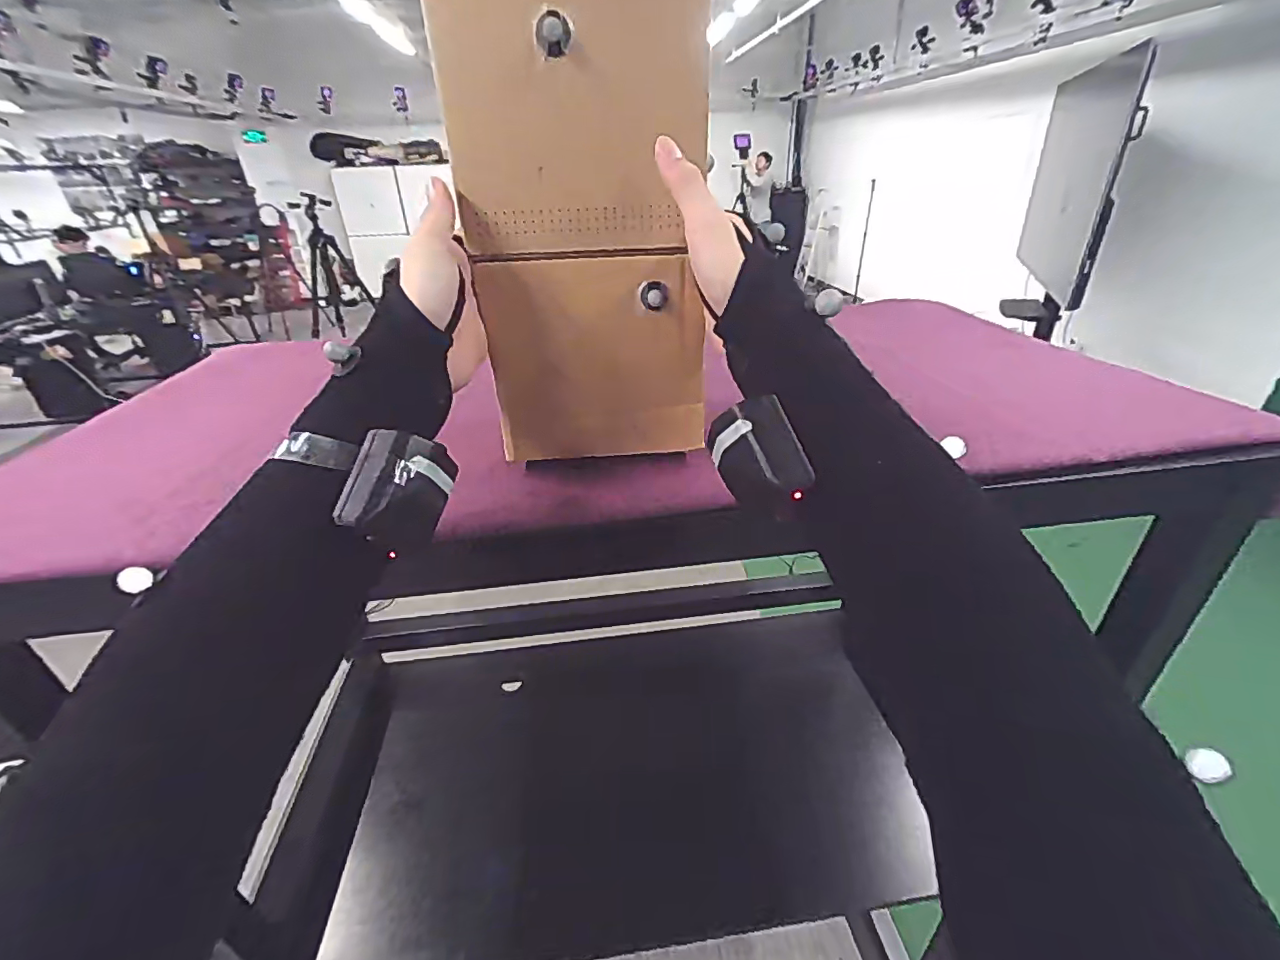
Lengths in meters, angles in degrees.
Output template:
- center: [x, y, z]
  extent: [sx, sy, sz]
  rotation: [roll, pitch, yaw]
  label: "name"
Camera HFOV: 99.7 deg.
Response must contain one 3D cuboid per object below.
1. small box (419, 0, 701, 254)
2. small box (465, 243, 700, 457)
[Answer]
- center: [-0.048, -0.272, 0.417]
  extent: [0.179, 0.176, 0.168]
  rotation: [-3, 30, -2]
  label: "small box"
- center: [-0.043, -0.129, 0.500]
  extent: [0.179, 0.176, 0.168]
  rotation: [-3, 30, -3]
  label: "small box"
